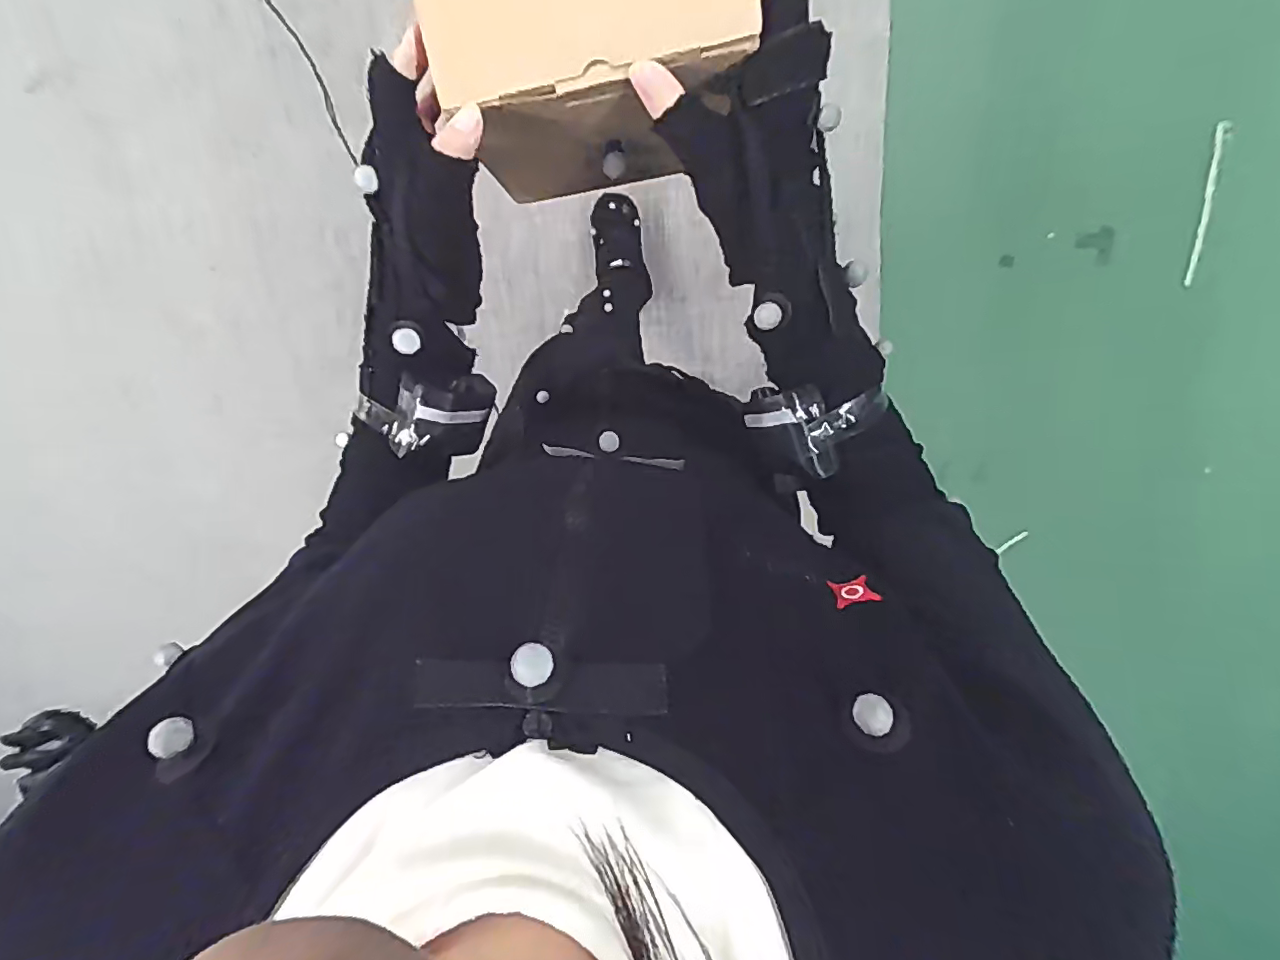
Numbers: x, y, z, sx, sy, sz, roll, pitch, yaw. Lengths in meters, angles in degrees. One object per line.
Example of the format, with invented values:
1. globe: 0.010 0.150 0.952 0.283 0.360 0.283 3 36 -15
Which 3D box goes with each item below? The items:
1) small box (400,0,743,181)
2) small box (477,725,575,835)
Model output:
1. small box: -0.040 -0.300 0.324 0.168 0.176 0.179 -10 104 3
2. small box: -0.263 0.714 1.302 0.179 0.176 0.168 -7 106 9
